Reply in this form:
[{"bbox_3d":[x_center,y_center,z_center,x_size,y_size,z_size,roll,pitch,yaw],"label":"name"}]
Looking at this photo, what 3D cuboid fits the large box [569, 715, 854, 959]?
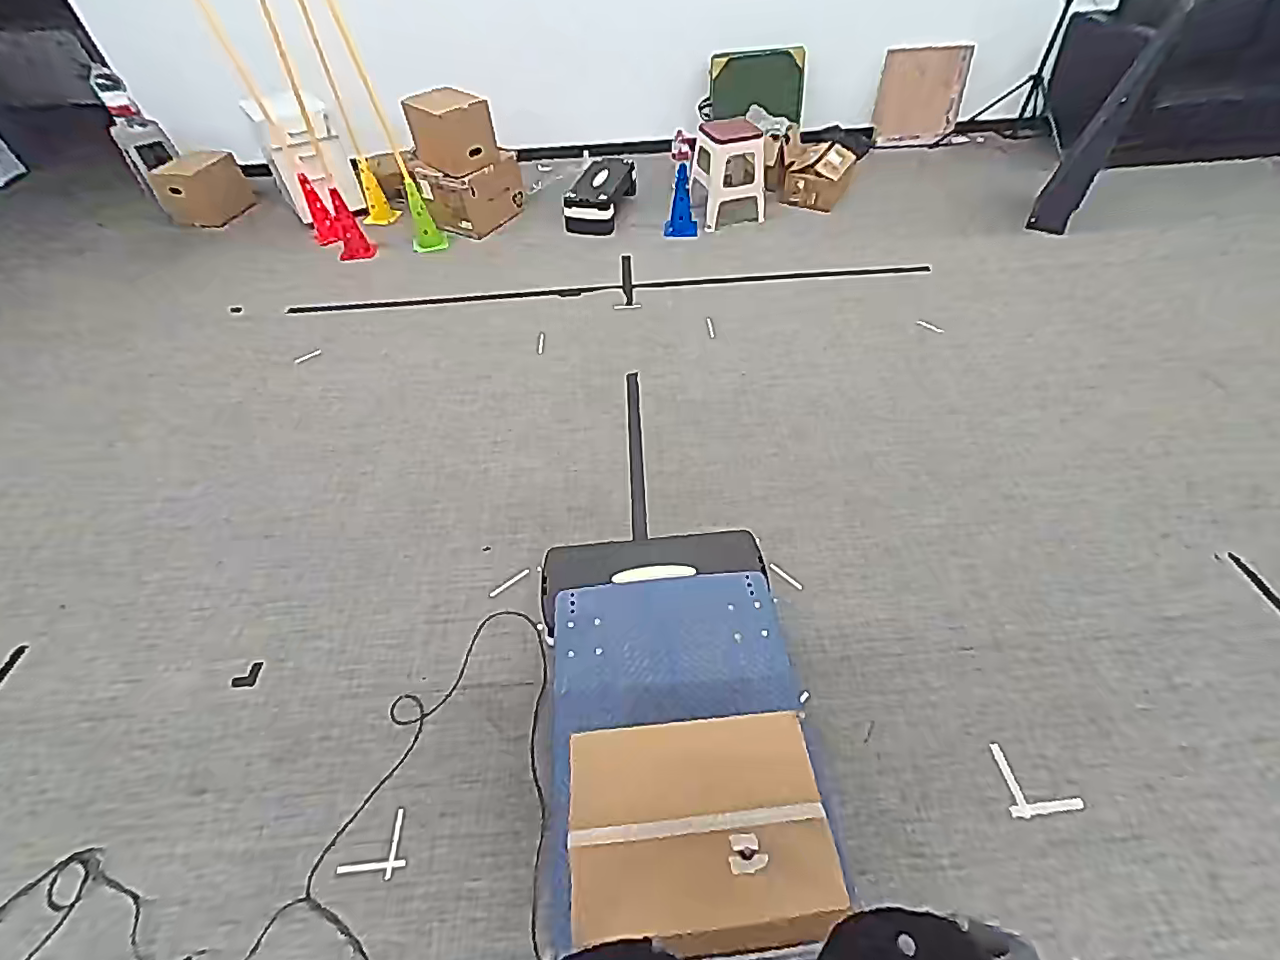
[{"bbox_3d":[0.093,0.648,0.957,0.408,0.320,0.320,-5,49,-3],"label":"large box"}]
